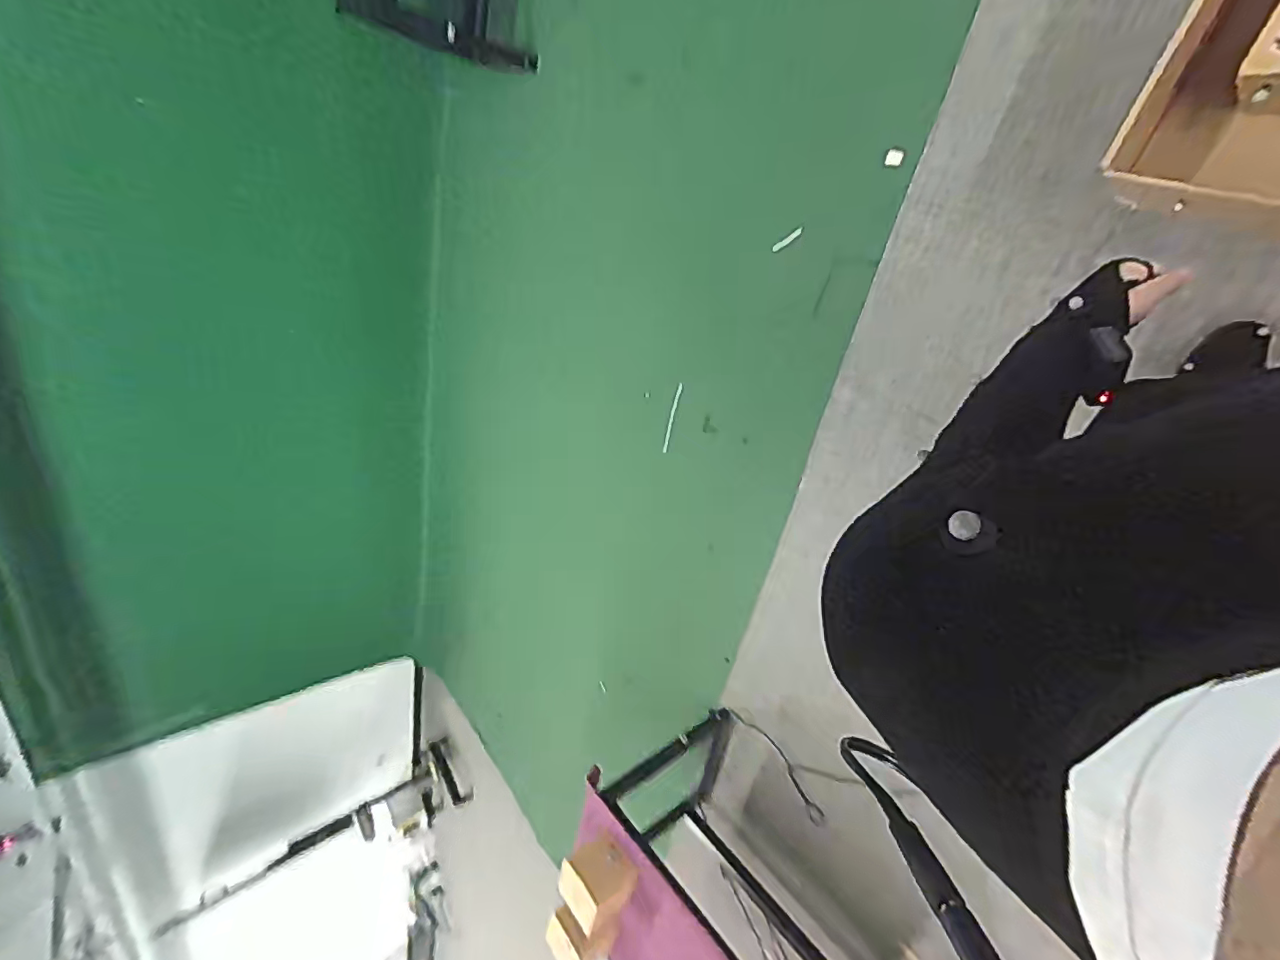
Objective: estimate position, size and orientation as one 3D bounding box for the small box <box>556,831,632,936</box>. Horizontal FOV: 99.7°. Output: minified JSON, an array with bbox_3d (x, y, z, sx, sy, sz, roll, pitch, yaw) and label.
[{"bbox_3d":[-0.145,1.280,1.724,0.168,0.176,0.179,35,123,37],"label":"small box"}]

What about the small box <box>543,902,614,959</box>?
[{"bbox_3d":[-0.211,1.559,1.862,0.168,0.176,0.179,36,123,37],"label":"small box"}]
